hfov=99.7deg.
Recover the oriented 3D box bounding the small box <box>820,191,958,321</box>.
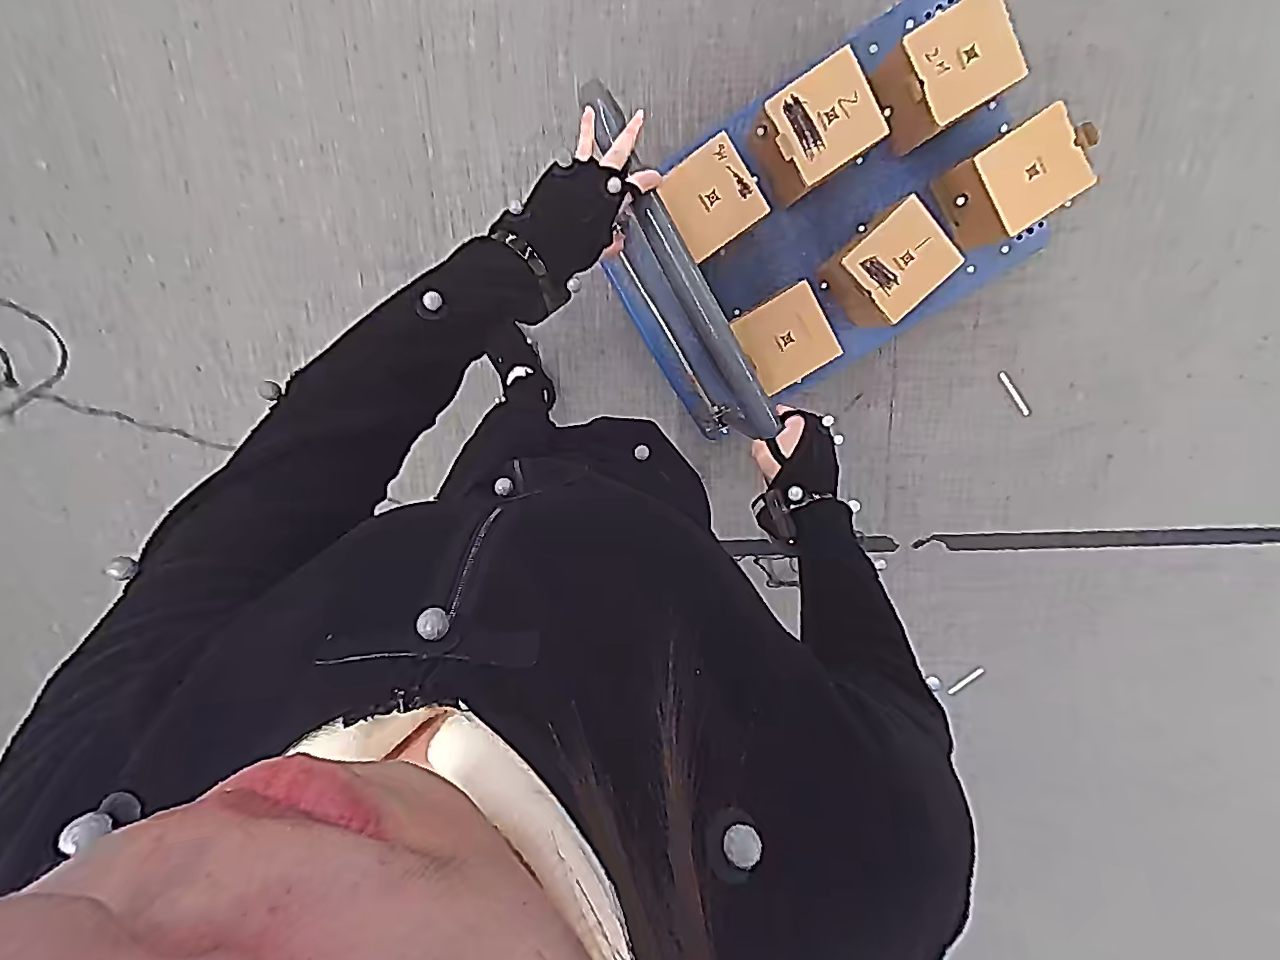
[{"bbox_3d":[0.495,-0.445,1.113,0.179,0.176,0.168,-42,100,8],"label":"small box"}]

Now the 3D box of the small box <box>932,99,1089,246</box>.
[{"bbox_3d":[0.719,-0.596,1.078,0.179,0.176,0.168,-33,101,7],"label":"small box"}]

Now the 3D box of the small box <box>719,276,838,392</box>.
[{"bbox_3d":[0.281,-0.304,1.147,0.179,0.176,0.168,-30,103,6],"label":"small box"}]

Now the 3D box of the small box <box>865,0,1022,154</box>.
[{"bbox_3d":[0.568,-0.769,1.032,0.179,0.176,0.168,-29,102,7],"label":"small box"}]

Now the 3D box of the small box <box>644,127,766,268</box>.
[{"bbox_3d":[0.124,-0.549,1.083,0.179,0.176,0.168,-34,103,8],"label":"small box"}]
